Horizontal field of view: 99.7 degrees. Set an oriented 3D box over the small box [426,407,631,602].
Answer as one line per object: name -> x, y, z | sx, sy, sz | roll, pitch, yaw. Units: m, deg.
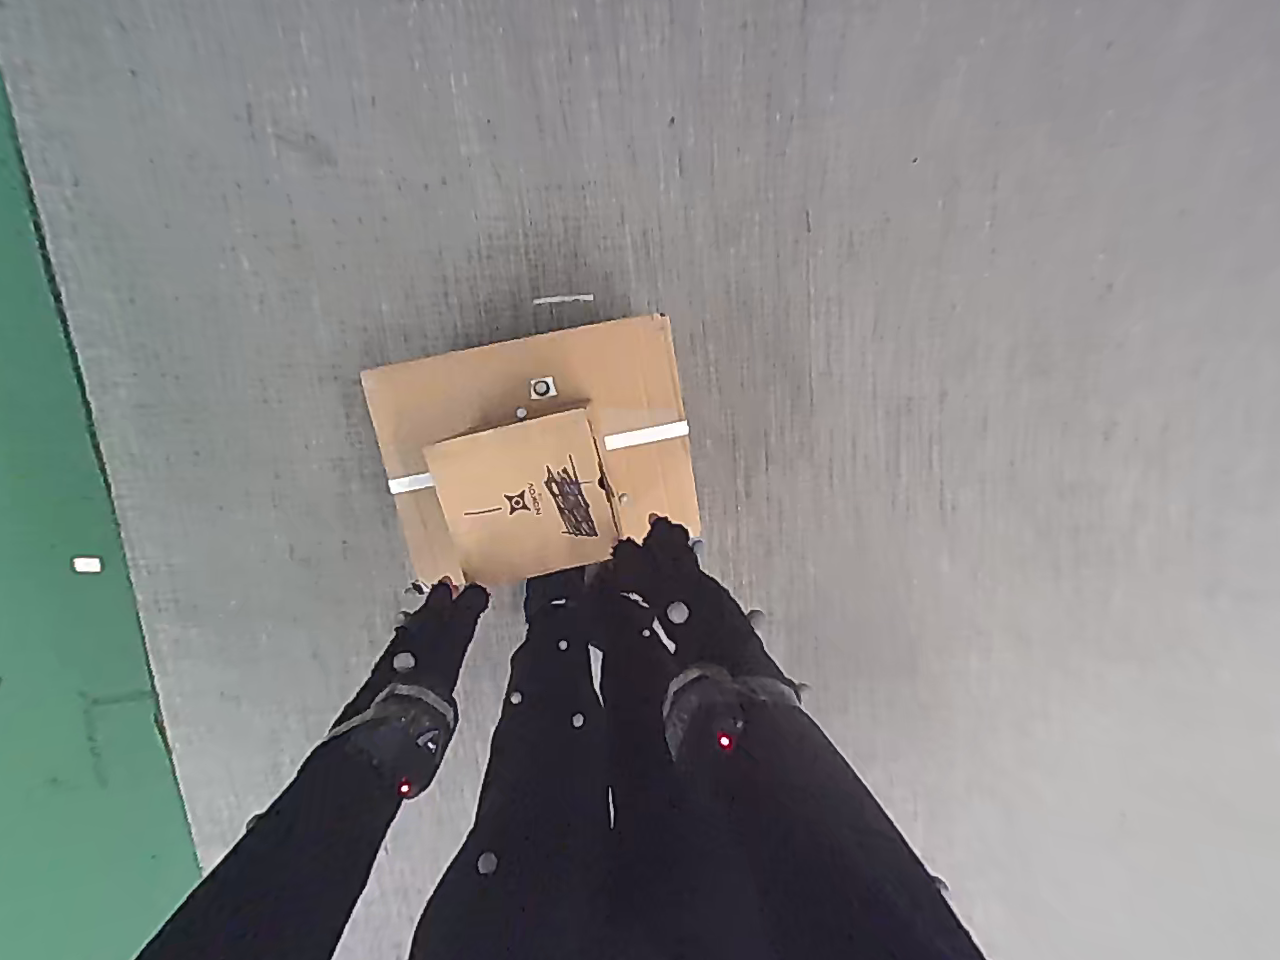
small box -> -0.119, 0.016, 0.641 | 0.179, 0.176, 0.168 | -16, 101, 0
